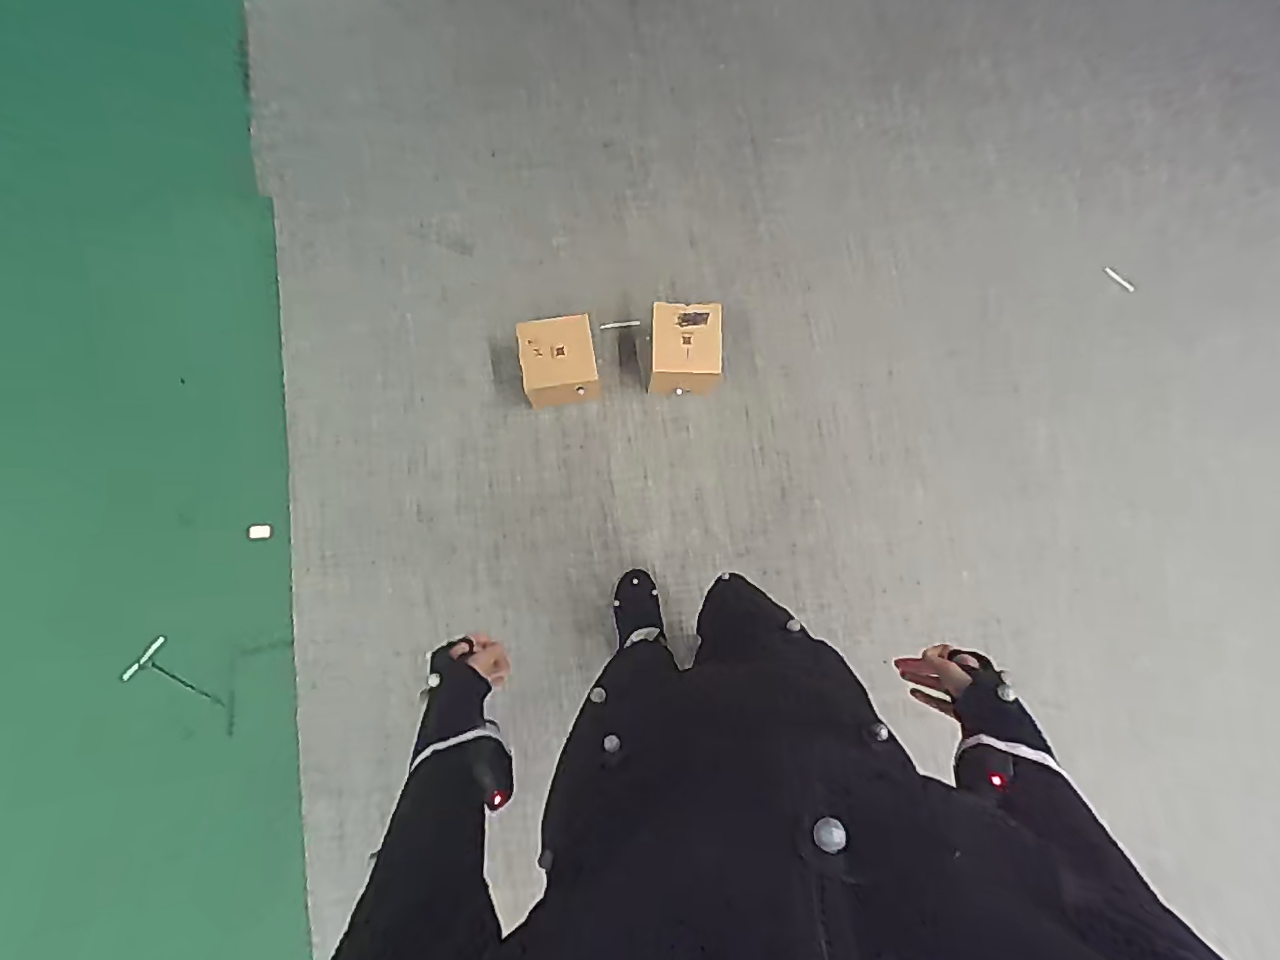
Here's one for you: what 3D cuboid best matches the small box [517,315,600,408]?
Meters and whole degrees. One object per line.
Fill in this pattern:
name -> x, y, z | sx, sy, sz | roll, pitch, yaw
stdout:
small box -> -0.195, -0.288, 1.341 | 0.179, 0.176, 0.168 | -9, 82, -3

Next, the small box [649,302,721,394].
small box -> 0.108, -0.326, 1.359 | 0.168, 0.176, 0.179 | 1, 82, -2
